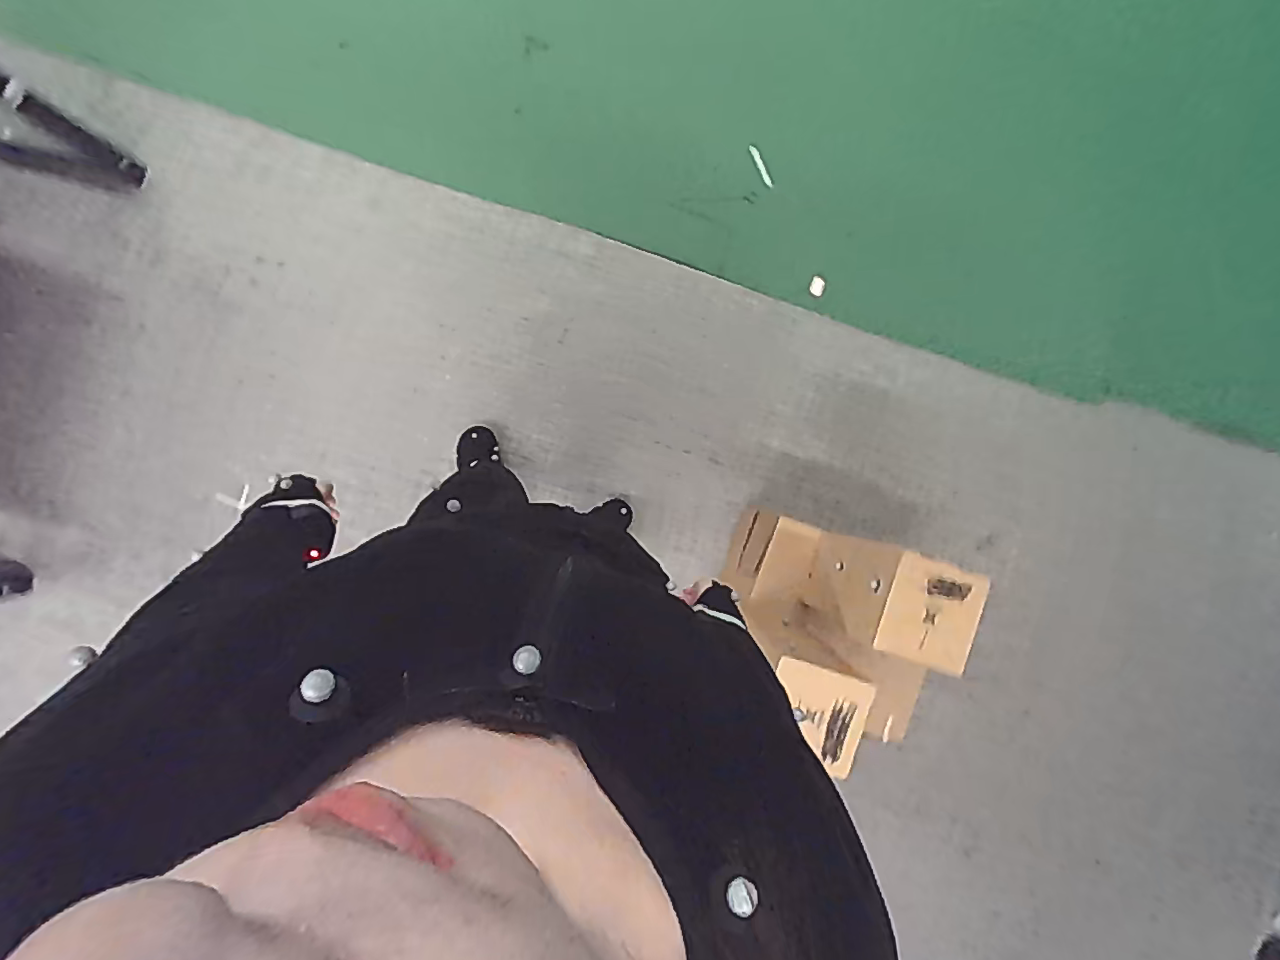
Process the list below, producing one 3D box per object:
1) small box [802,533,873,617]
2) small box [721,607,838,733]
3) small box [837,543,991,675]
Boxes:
[{"bbox_3d":[0.476,0.219,1.150,0.179,0.176,0.168,20,88,-5],"label":"small box"},{"bbox_3d":[0.281,0.389,1.134,0.168,0.176,0.179,18,89,-5],"label":"small box"},{"bbox_3d":[0.485,0.222,0.983,0.168,0.176,0.179,19,87,-4],"label":"small box"}]
